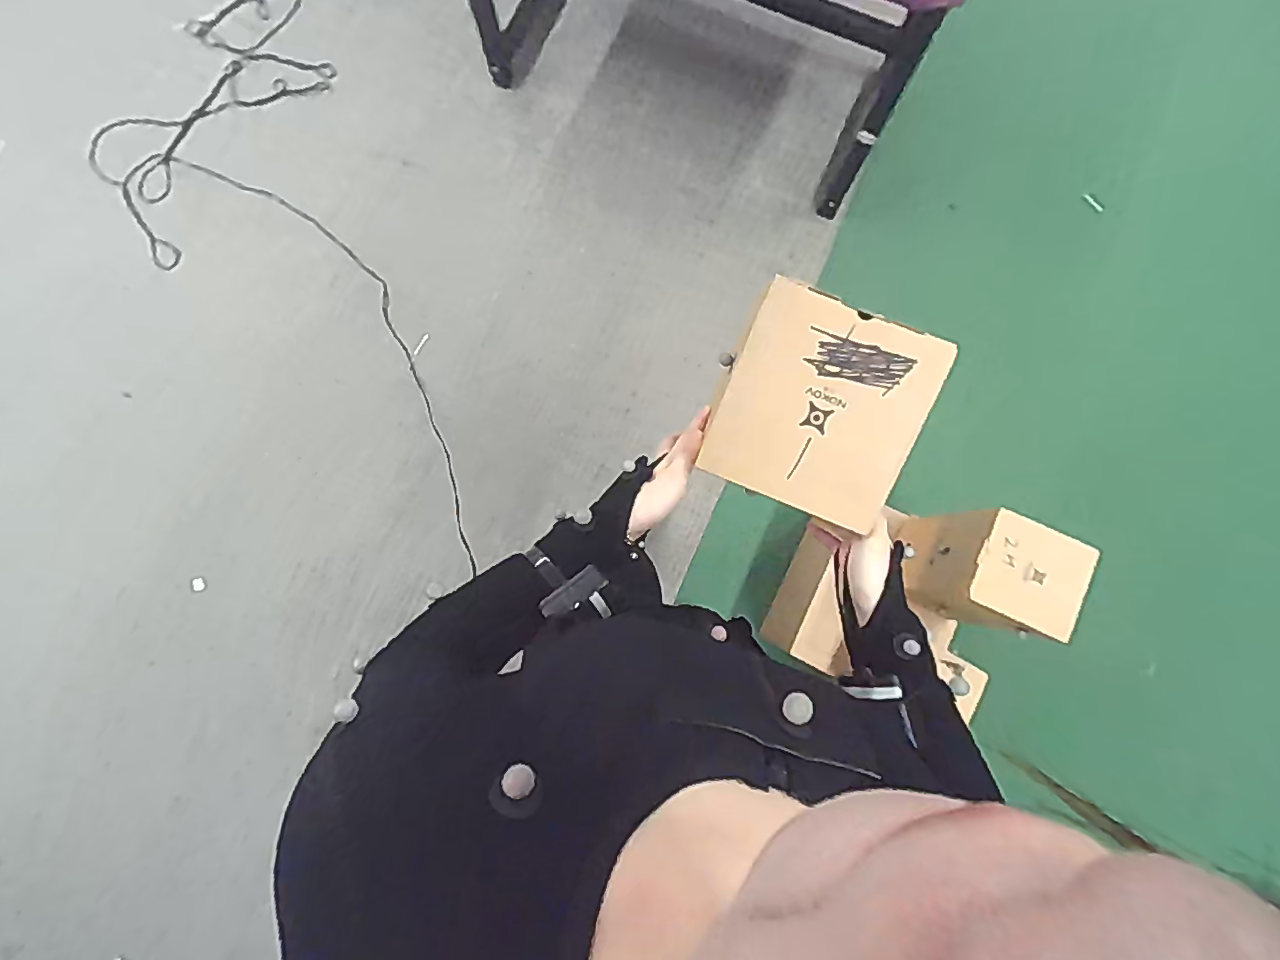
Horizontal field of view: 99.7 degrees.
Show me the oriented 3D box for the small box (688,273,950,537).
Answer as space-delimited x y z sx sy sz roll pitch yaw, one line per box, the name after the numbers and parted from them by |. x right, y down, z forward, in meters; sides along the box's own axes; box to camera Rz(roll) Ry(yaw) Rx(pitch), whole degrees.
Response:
0.150 -0.071 0.526 0.168 0.176 0.179 21 99 2 | small box

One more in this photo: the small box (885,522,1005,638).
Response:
0.642 0.198 1.105 0.179 0.176 0.168 26 83 4 | small box

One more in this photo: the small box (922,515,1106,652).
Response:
0.637 0.174 0.942 0.179 0.176 0.168 25 82 4 | small box

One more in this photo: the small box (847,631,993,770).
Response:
0.536 0.421 1.066 0.168 0.176 0.179 31 82 4 | small box

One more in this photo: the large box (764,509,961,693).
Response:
0.551 0.309 1.332 0.320 0.320 0.408 26 83 5 | large box
